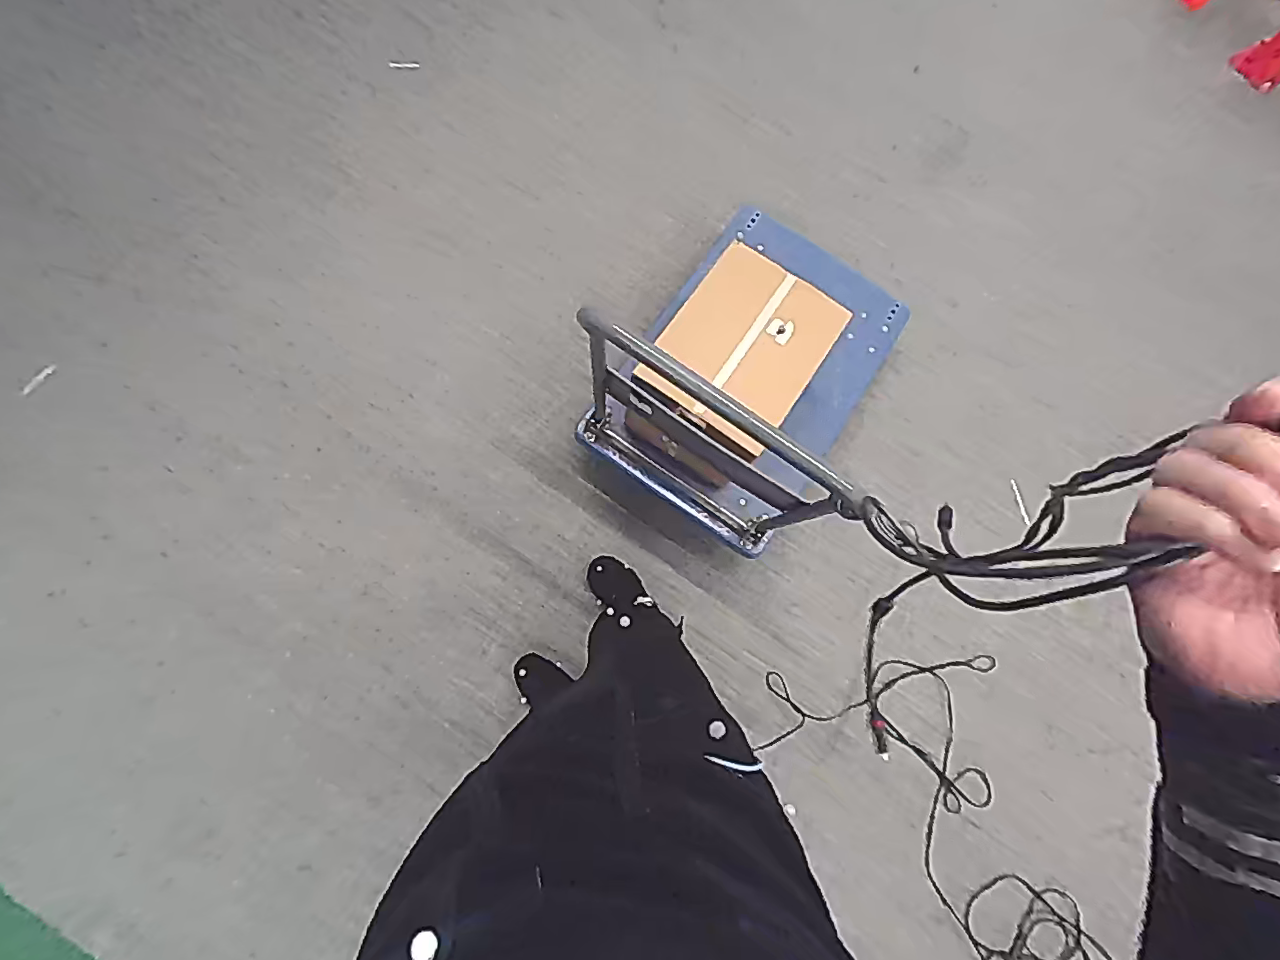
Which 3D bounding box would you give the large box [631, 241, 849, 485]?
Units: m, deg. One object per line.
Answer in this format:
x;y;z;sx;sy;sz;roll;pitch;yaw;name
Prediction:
0.216;-0.258;1.290;0.320;0.320;0.408;35;76;3;large box
